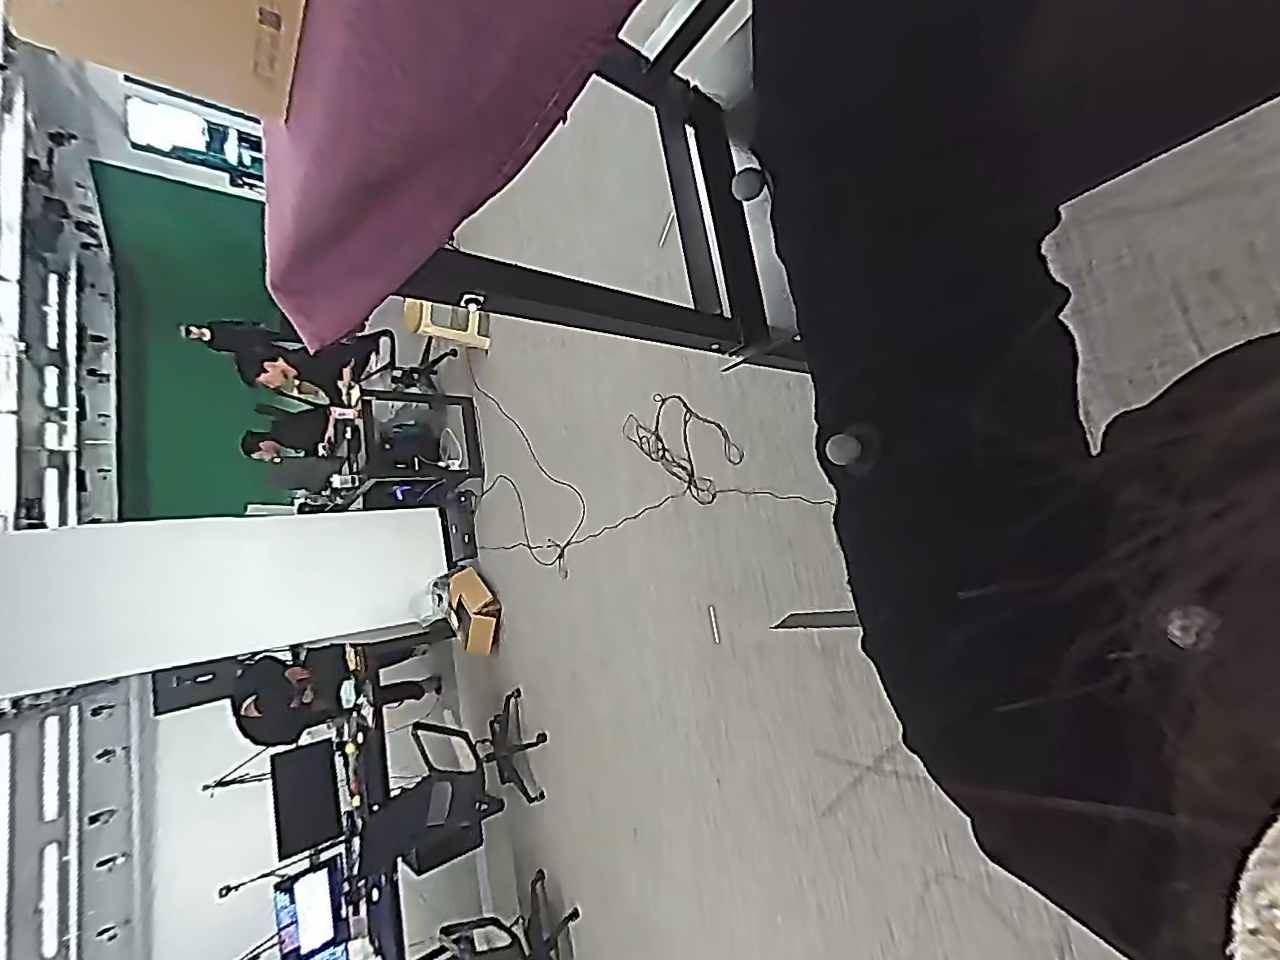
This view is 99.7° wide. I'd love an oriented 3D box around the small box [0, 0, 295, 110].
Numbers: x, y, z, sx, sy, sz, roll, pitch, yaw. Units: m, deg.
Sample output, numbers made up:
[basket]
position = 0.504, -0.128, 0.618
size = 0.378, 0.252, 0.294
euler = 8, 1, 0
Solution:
[small box]
position = -0.358, -0.424, 0.392
size = 0.168, 0.176, 0.179
euler = -21, 75, 49
